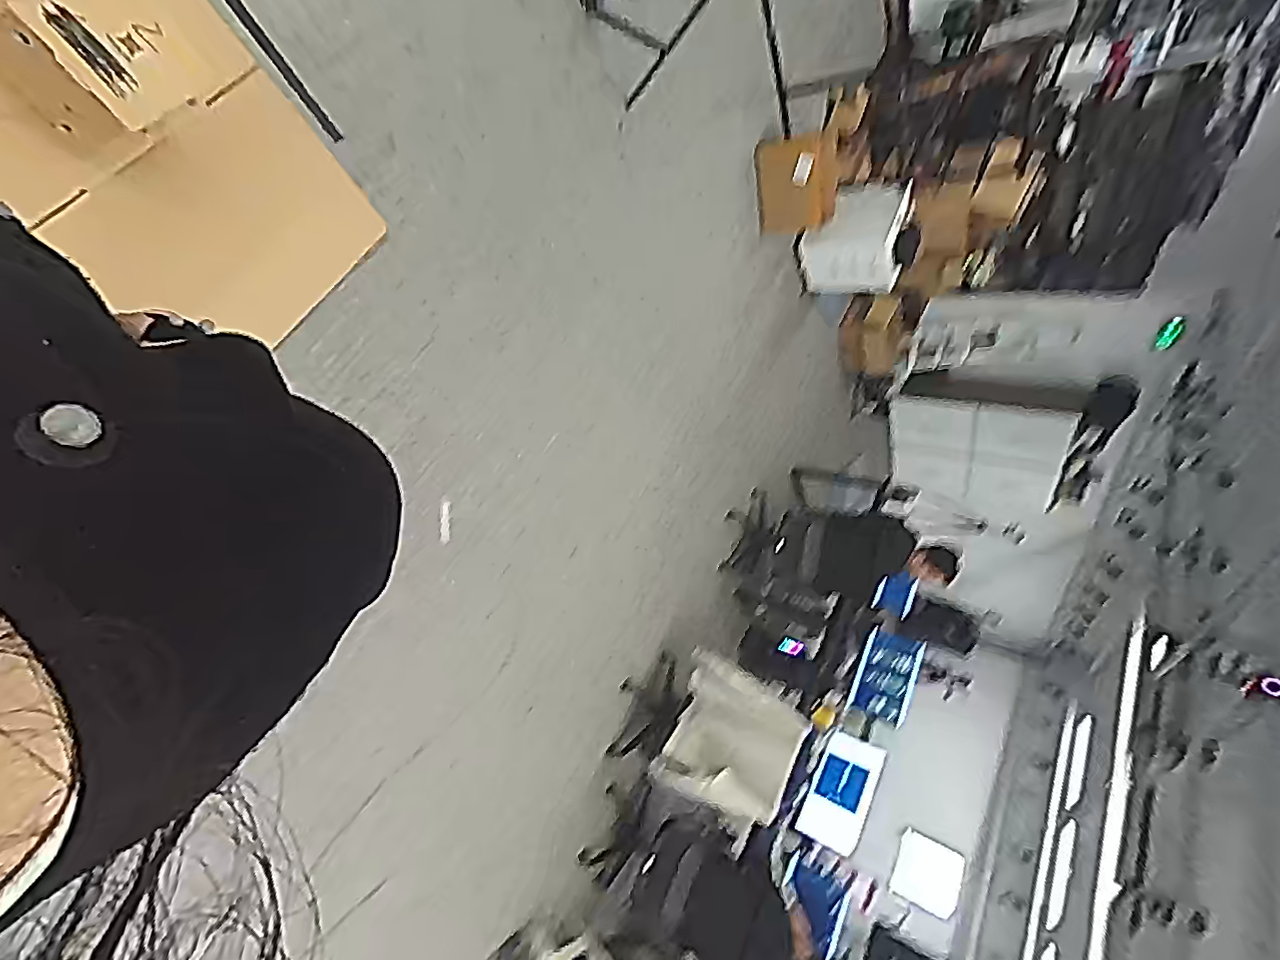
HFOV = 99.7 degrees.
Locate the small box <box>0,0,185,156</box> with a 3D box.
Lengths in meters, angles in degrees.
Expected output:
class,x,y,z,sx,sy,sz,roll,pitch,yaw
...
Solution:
class,x,y,z,sx,sy,sz,roll,pitch,yaw
small box,-0.962,-0.694,0.940,0.179,0.176,0.168,-58,143,-26
